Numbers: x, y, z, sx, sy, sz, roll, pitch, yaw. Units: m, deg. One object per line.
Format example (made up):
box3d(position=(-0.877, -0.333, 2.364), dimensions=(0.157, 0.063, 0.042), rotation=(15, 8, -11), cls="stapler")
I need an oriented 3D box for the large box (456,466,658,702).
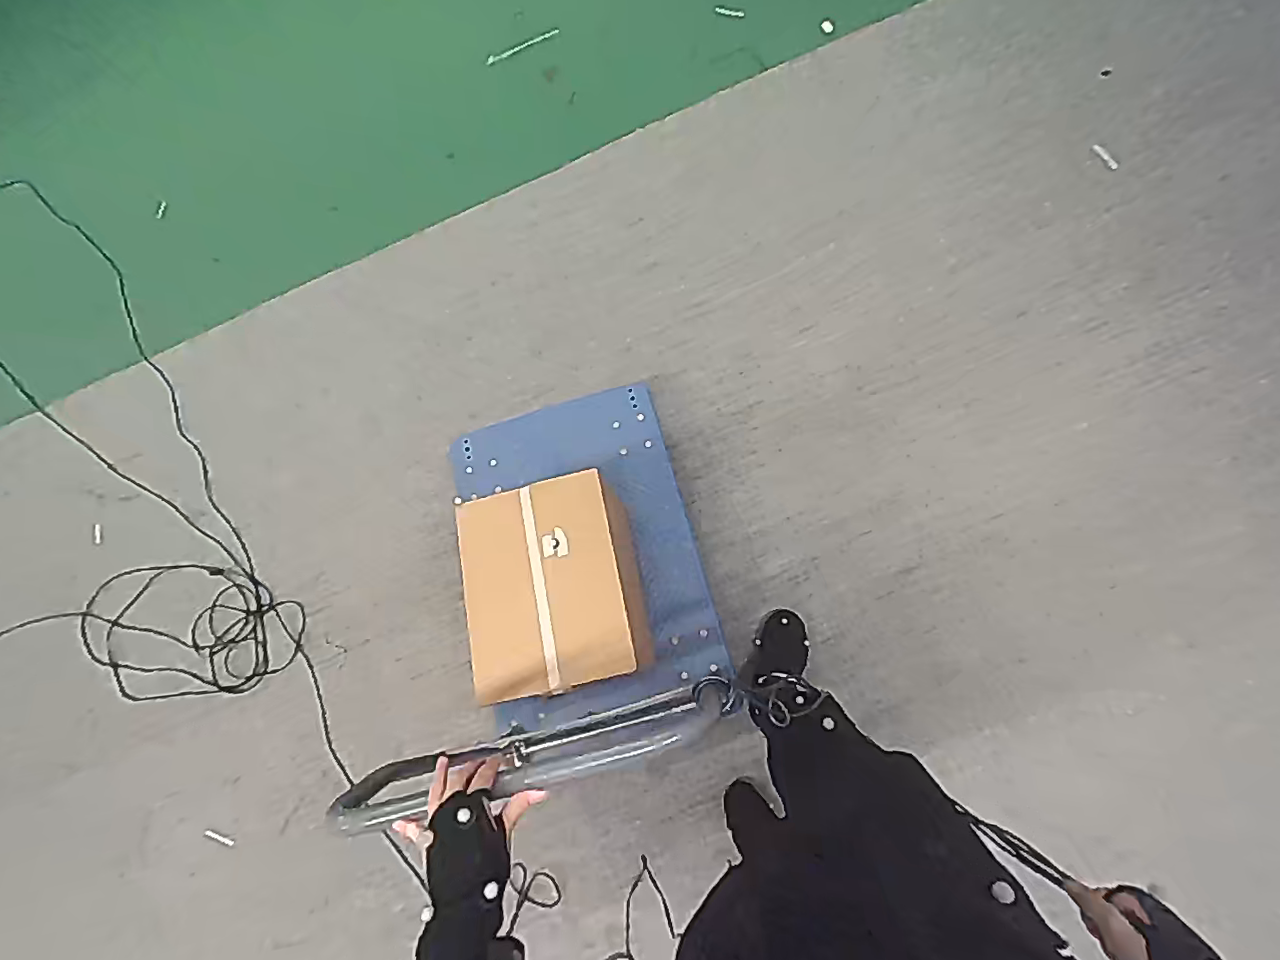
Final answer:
box3d(position=(-0.168, 0.234, 1.187), dimensions=(0.320, 0.320, 0.408), rotation=(-14, 71, 4), cls="large box")
